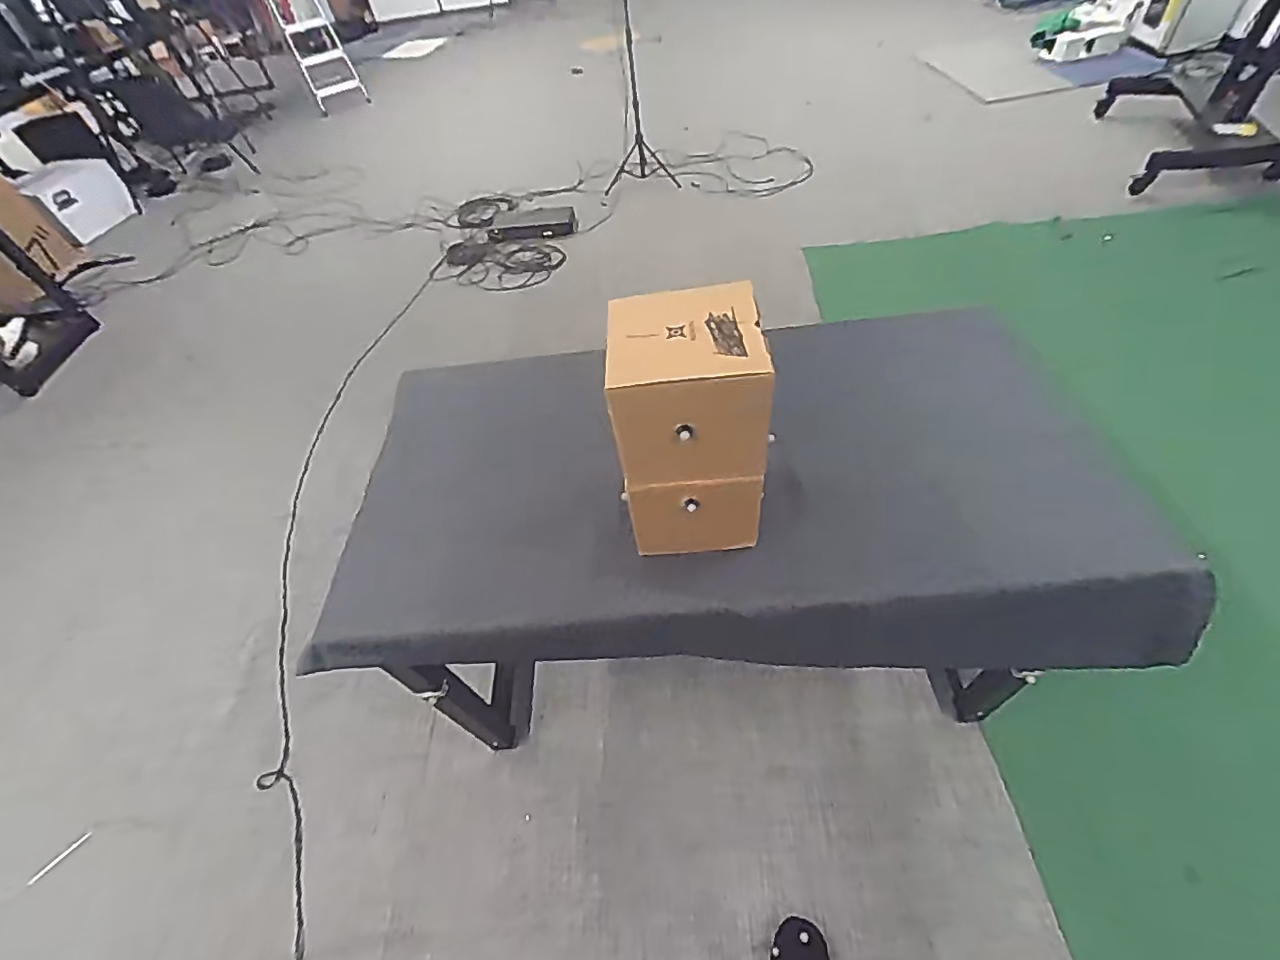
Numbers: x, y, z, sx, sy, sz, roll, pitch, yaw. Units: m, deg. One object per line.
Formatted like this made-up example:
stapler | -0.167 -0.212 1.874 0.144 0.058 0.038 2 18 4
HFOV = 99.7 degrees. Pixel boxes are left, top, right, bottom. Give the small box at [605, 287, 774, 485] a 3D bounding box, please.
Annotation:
small box | 0.059 -0.110 0.665 0.179 0.176 0.168 -5 52 6

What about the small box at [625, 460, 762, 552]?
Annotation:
small box | 0.075 -0.006 0.792 0.179 0.176 0.168 -4 52 3
